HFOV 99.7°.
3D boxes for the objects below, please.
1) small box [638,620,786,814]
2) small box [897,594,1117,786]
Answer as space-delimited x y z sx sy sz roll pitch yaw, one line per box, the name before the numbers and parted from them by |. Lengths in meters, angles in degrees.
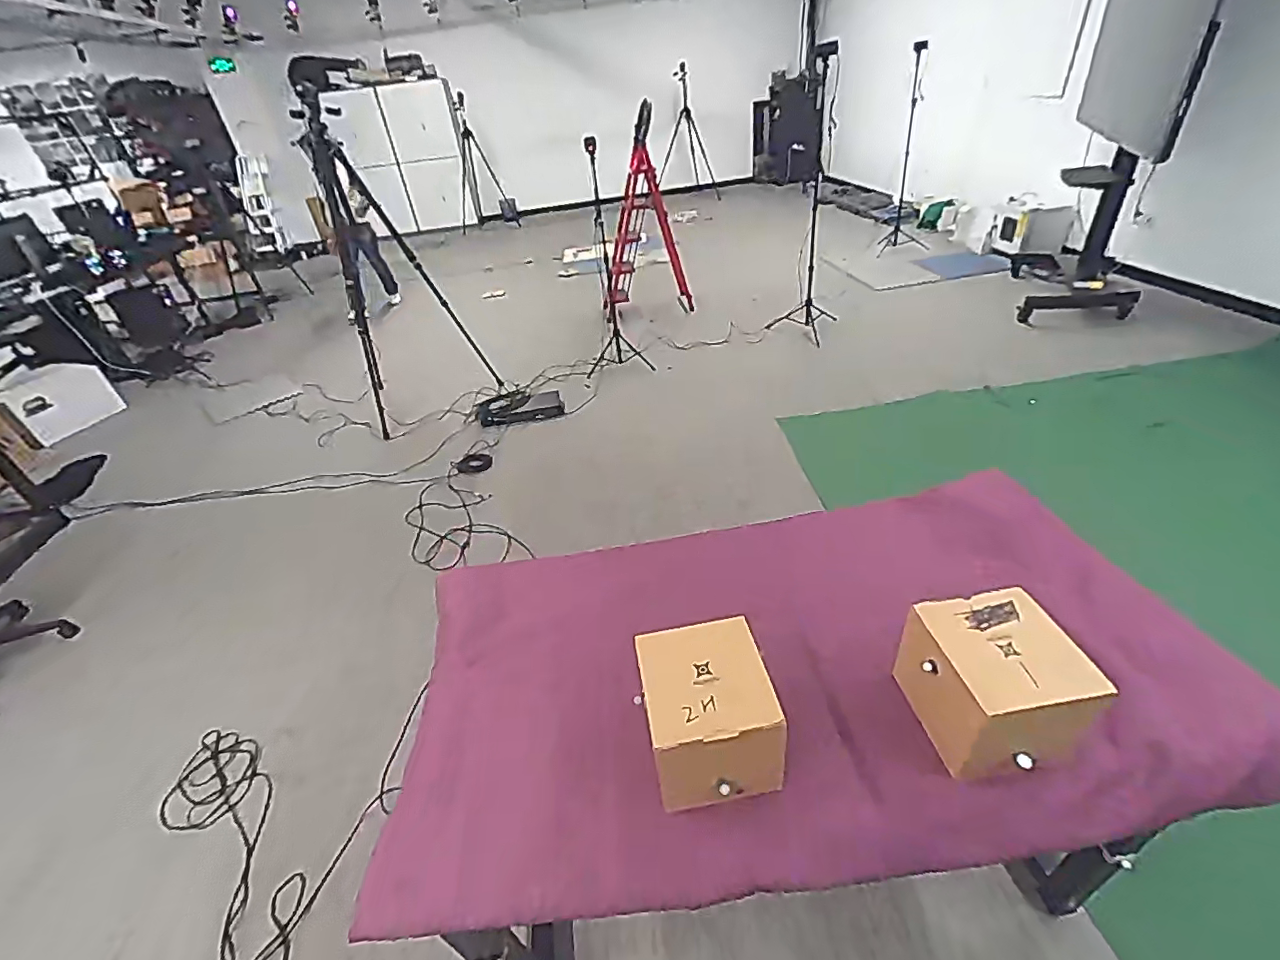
small box | 0.094 0.331 0.763 0.168 0.176 0.179 -10 34 -3
small box | 0.487 0.289 0.755 0.168 0.176 0.179 -9 36 -2
